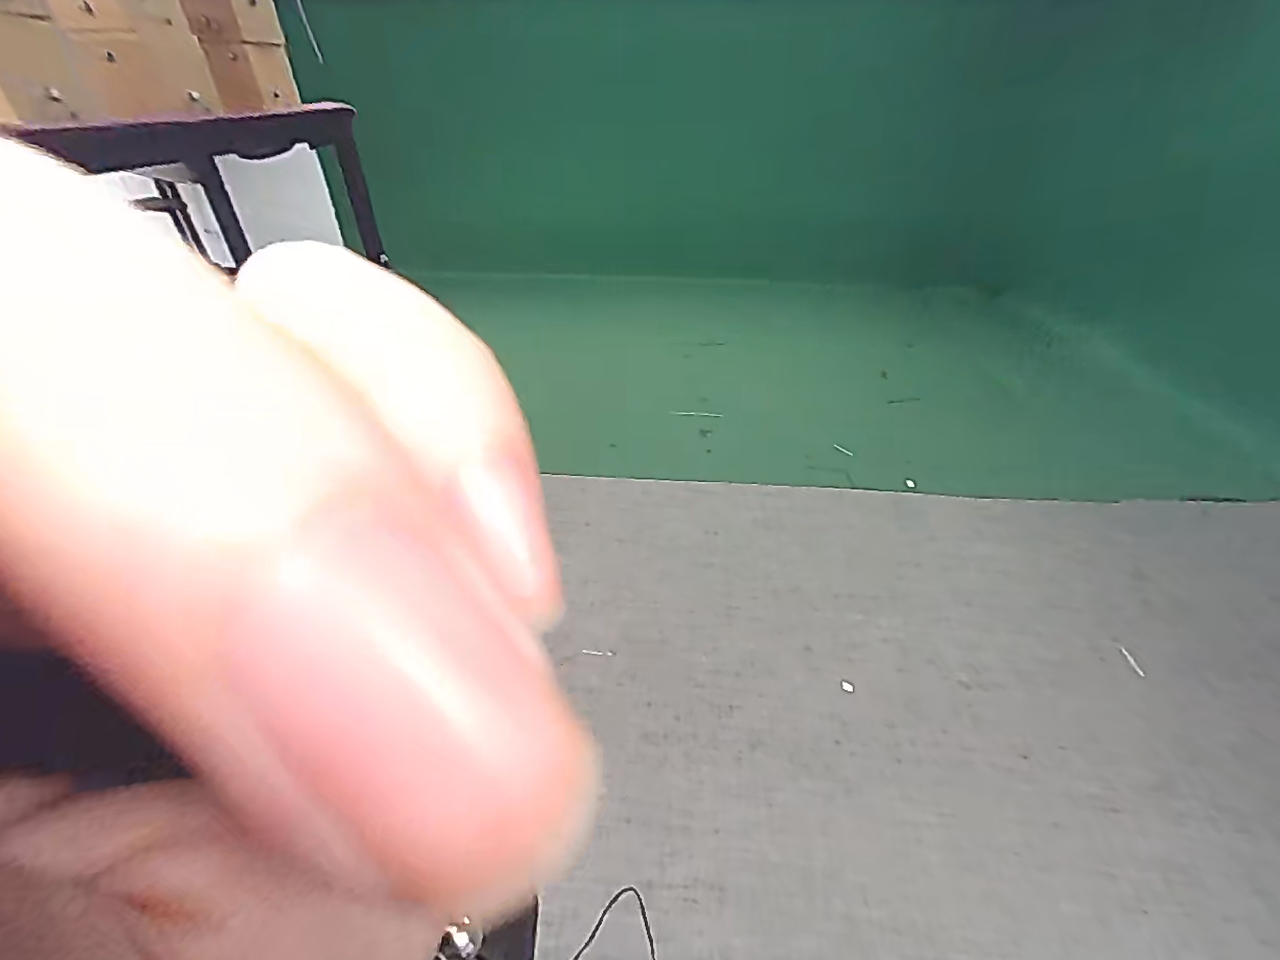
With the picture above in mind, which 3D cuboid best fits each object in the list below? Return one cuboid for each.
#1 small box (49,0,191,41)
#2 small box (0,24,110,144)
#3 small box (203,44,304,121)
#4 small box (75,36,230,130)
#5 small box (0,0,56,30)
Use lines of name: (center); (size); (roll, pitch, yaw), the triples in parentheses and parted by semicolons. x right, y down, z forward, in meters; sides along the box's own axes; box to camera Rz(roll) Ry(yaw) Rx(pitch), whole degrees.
small box: (-1.144, -1.060, 1.175); (0.179, 0.176, 0.168); (3, 37, 4)
small box: (-1.142, -0.706, 0.971); (0.179, 0.176, 0.168); (1, 37, 4)
small box: (-1.111, -1.130, 1.543); (0.179, 0.176, 0.168); (4, 37, 5)
small box: (-1.132, -0.928, 1.272); (0.179, 0.176, 0.168); (3, 37, 4)
small box: (-1.145, -0.838, 0.876); (0.179, 0.176, 0.168); (3, 38, 6)
